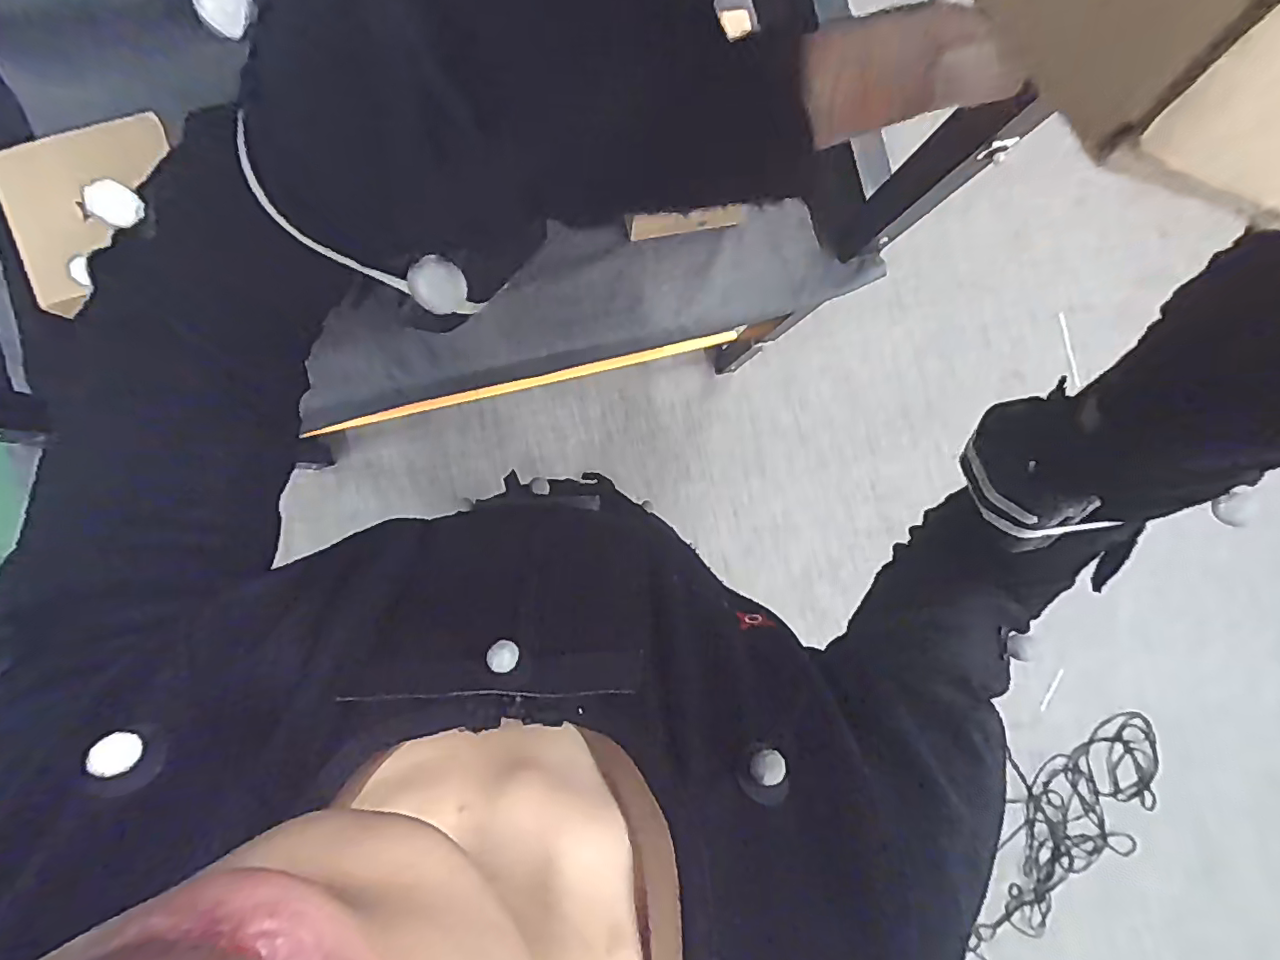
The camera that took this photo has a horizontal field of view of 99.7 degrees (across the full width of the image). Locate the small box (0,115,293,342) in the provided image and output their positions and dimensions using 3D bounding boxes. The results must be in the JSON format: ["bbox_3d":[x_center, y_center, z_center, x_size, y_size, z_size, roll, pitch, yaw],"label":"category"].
[{"bbox_3d":[-0.564,-0.281,0.643,0.179,0.176,0.168,-19,92,-6],"label":"small box"}]
